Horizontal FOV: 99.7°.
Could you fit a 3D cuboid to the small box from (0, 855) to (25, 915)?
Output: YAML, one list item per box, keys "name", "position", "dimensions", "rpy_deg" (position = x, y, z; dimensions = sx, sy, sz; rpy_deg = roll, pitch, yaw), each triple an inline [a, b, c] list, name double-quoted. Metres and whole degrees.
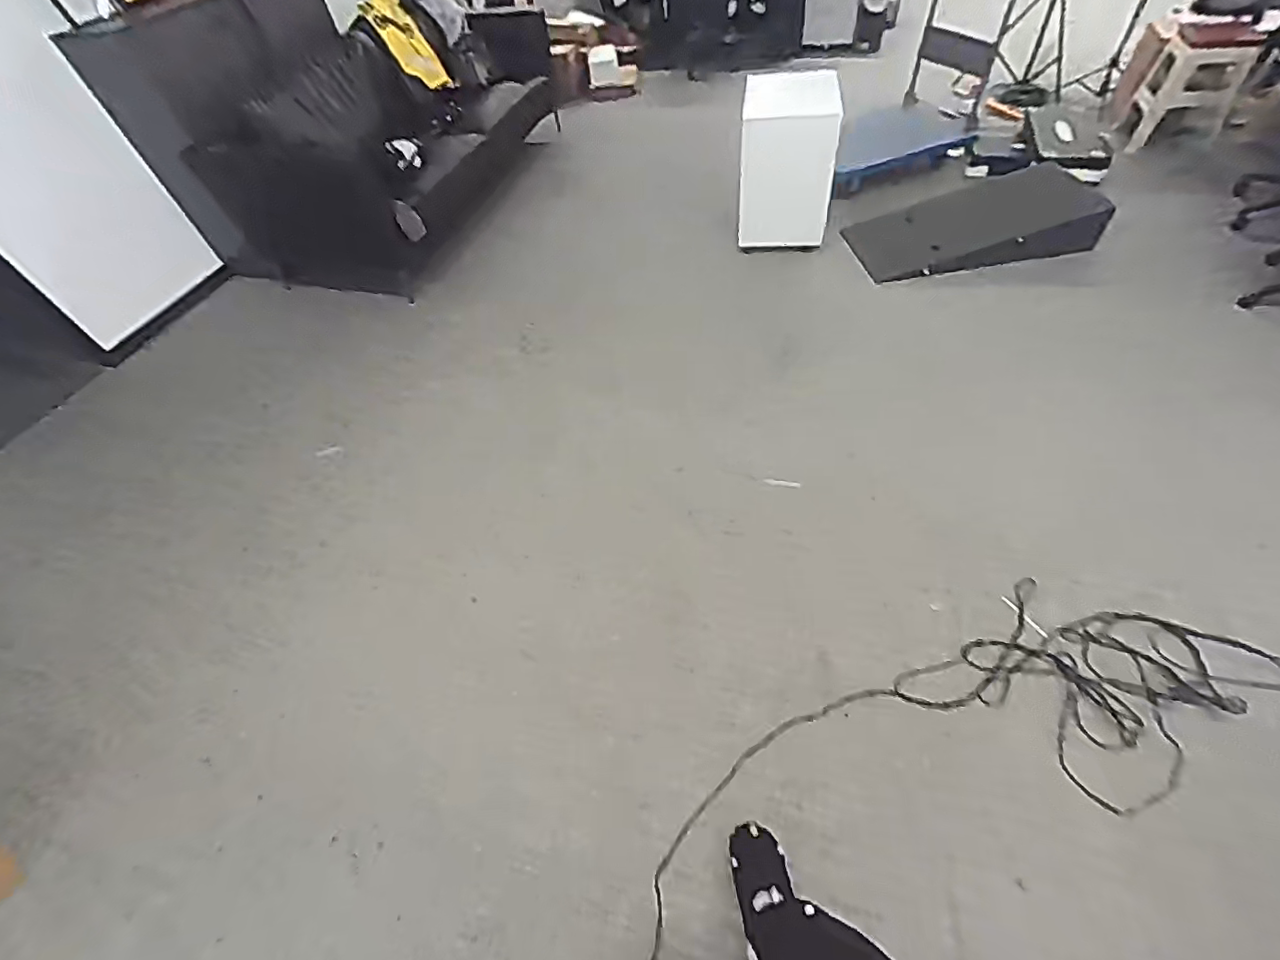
- name: "small box"
  position: [-1.602, 0.971, 1.239]
  dimensions: [0.179, 0.176, 0.168]
  rpy_deg: [16, 55, 19]
